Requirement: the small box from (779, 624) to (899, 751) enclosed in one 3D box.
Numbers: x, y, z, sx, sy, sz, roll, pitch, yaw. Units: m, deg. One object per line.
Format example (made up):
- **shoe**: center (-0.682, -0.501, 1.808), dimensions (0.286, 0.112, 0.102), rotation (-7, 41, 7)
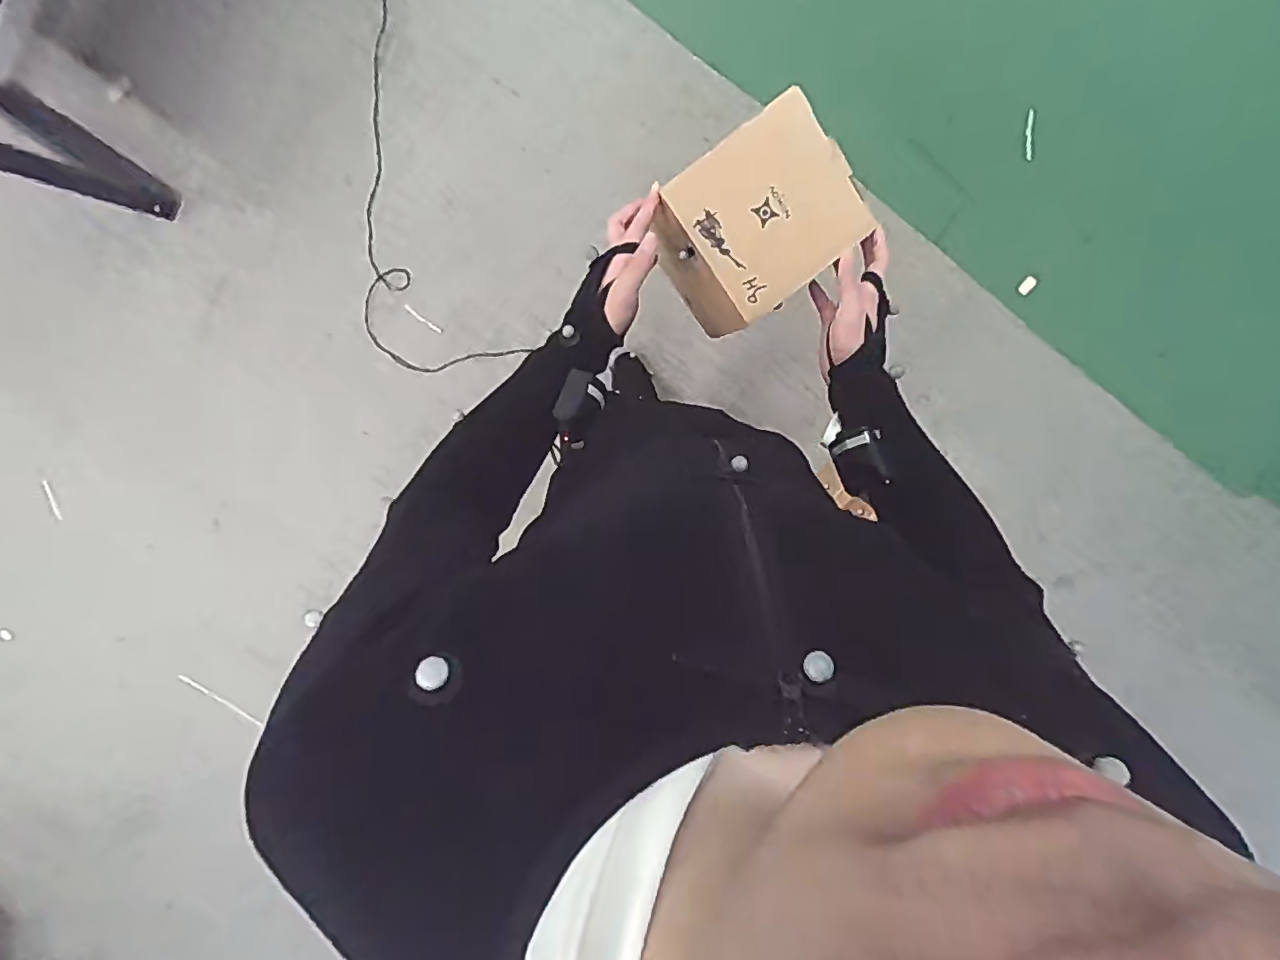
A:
- **small box**: center (0.446, 0.468, 1.247), dimensions (0.168, 0.176, 0.179), rotation (39, 101, -5)
